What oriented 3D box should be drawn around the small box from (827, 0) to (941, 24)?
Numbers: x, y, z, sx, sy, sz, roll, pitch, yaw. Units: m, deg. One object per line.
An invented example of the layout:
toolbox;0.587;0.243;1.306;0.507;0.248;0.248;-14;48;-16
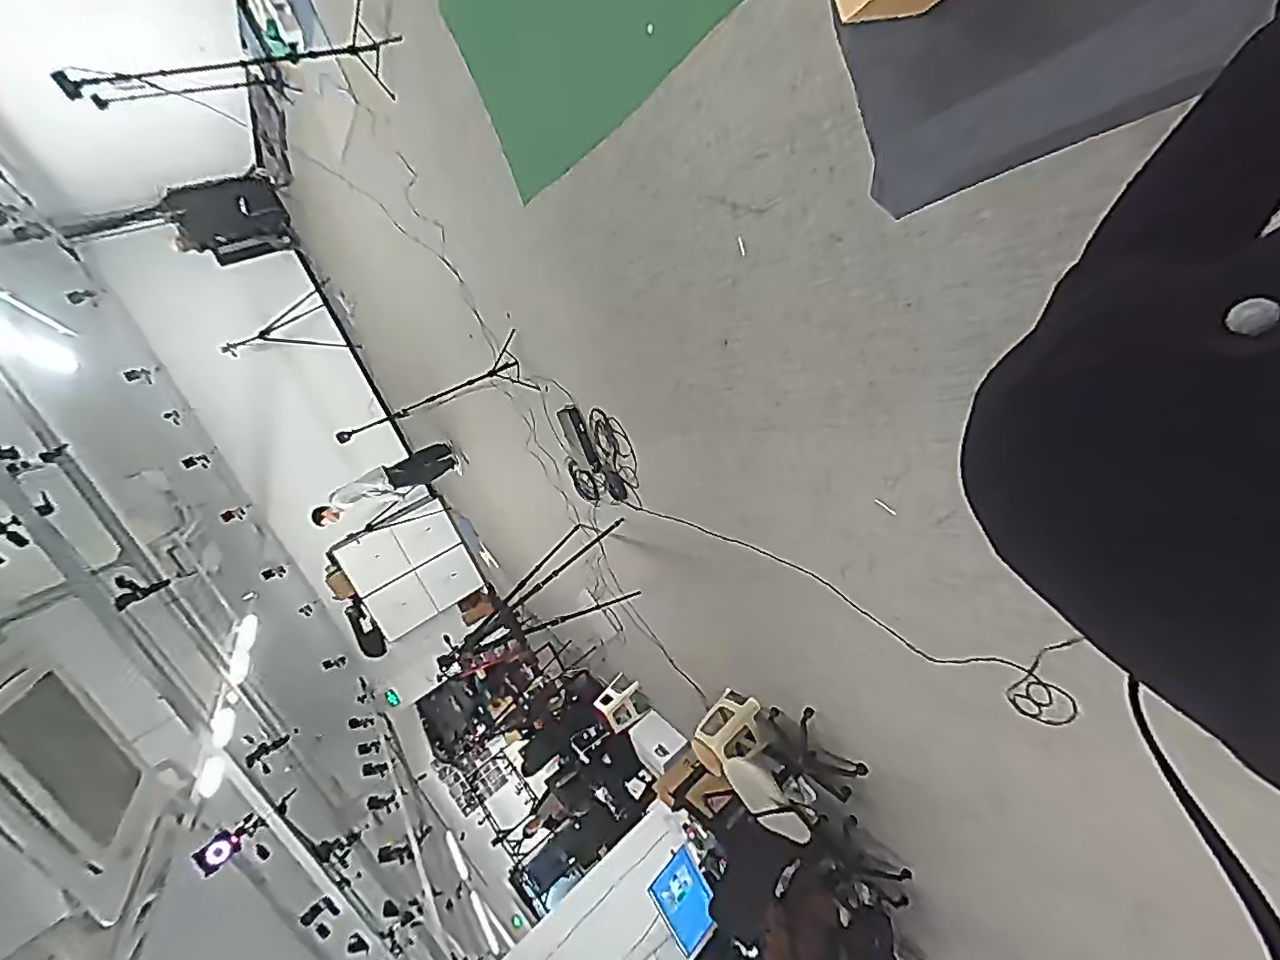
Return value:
small box;0.288;-0.609;0.543;0.168;0.176;0.179;2;119;58
